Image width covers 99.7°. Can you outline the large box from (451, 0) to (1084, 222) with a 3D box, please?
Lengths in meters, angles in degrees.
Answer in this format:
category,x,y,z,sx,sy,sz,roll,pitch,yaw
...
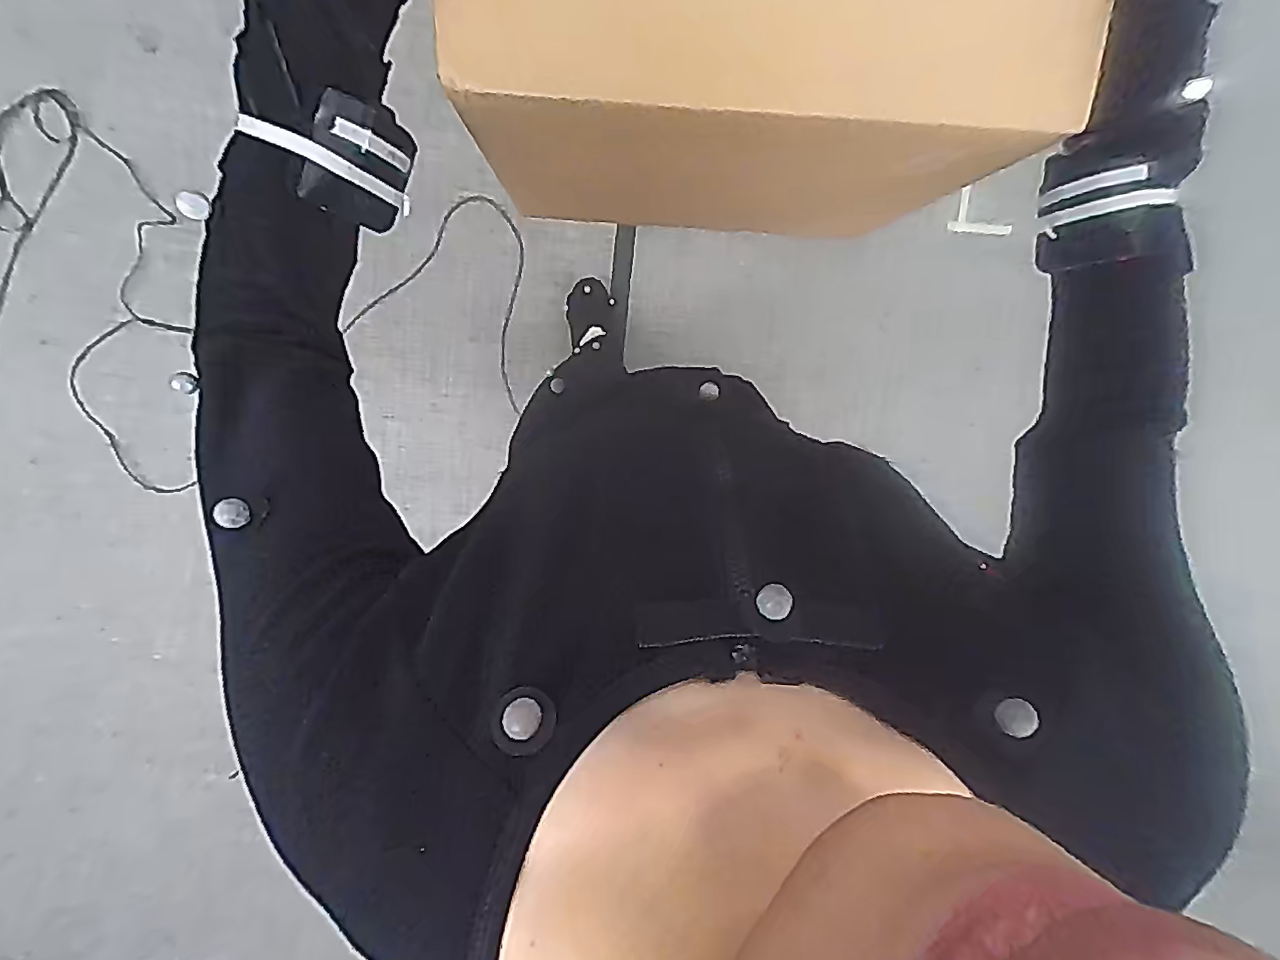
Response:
category,x,y,z,sx,sy,sz,roll,pitch,yaw
large box,0.074,-0.423,0.456,0.408,0.320,0.320,1,103,-4
